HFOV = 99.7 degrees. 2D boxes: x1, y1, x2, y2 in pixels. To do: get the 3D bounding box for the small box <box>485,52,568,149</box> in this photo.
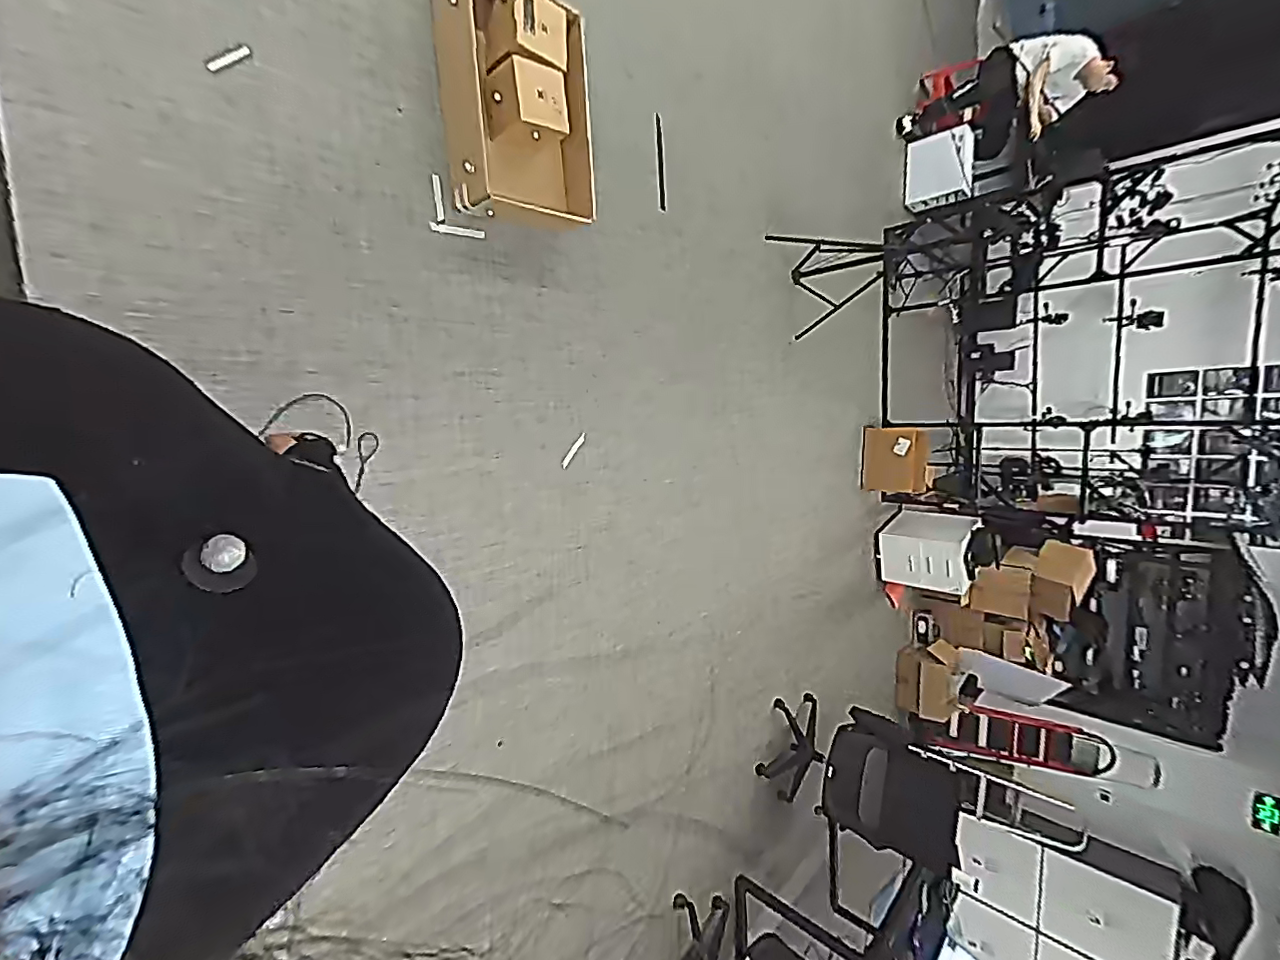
[{"bbox_3d":[-0.341,-1.107,1.596,0.179,0.176,0.168,-17,106,-44],"label":"small box"}]
